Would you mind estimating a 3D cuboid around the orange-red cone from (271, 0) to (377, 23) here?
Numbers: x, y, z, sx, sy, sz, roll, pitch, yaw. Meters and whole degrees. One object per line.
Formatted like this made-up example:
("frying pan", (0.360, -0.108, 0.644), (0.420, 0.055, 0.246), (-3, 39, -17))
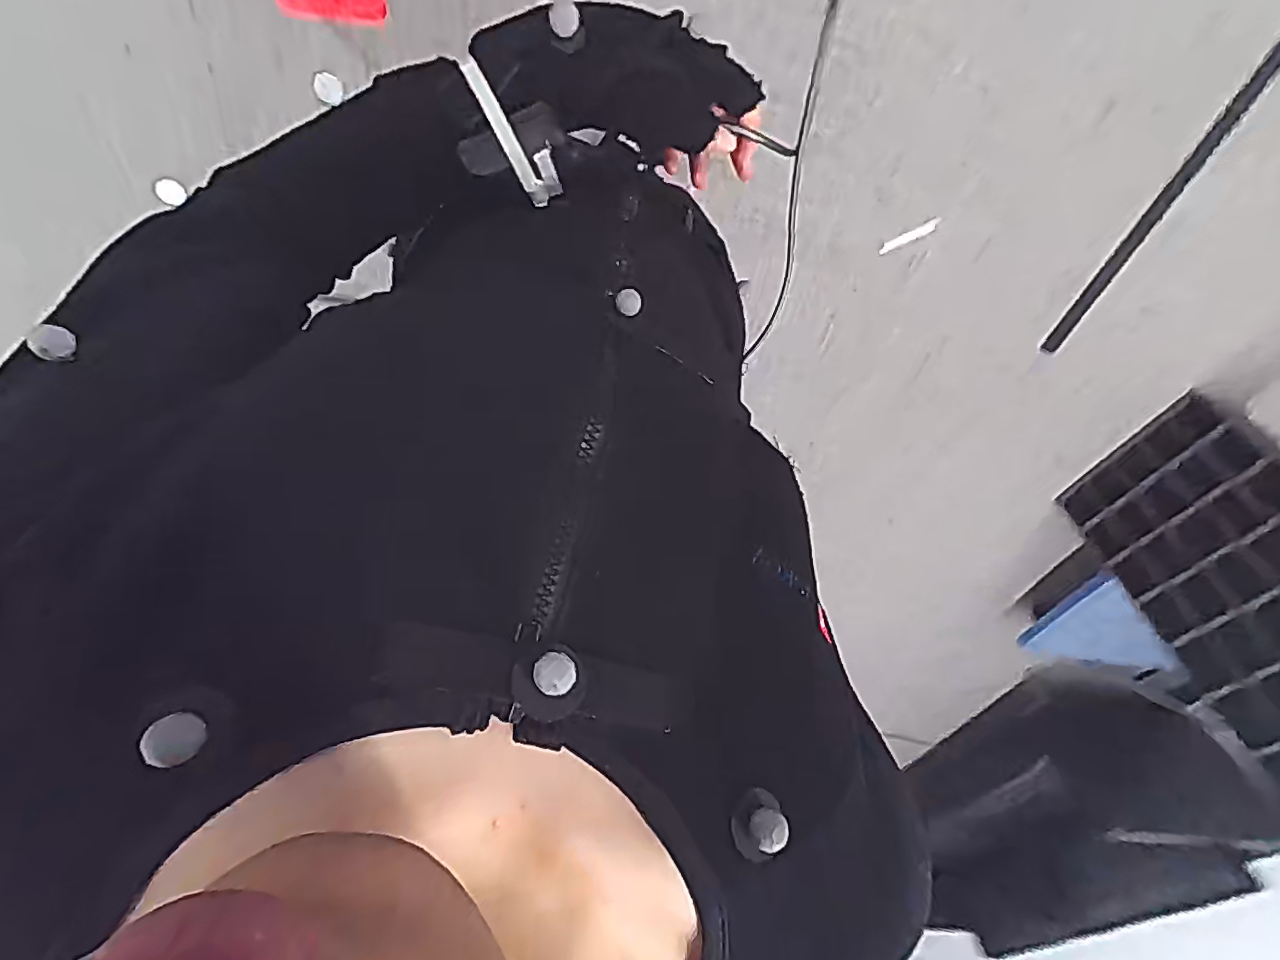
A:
("orange-red cone", (-0.573, -0.812, 0.815), (0.199, 0.360, 0.198), (3, 134, -4))
